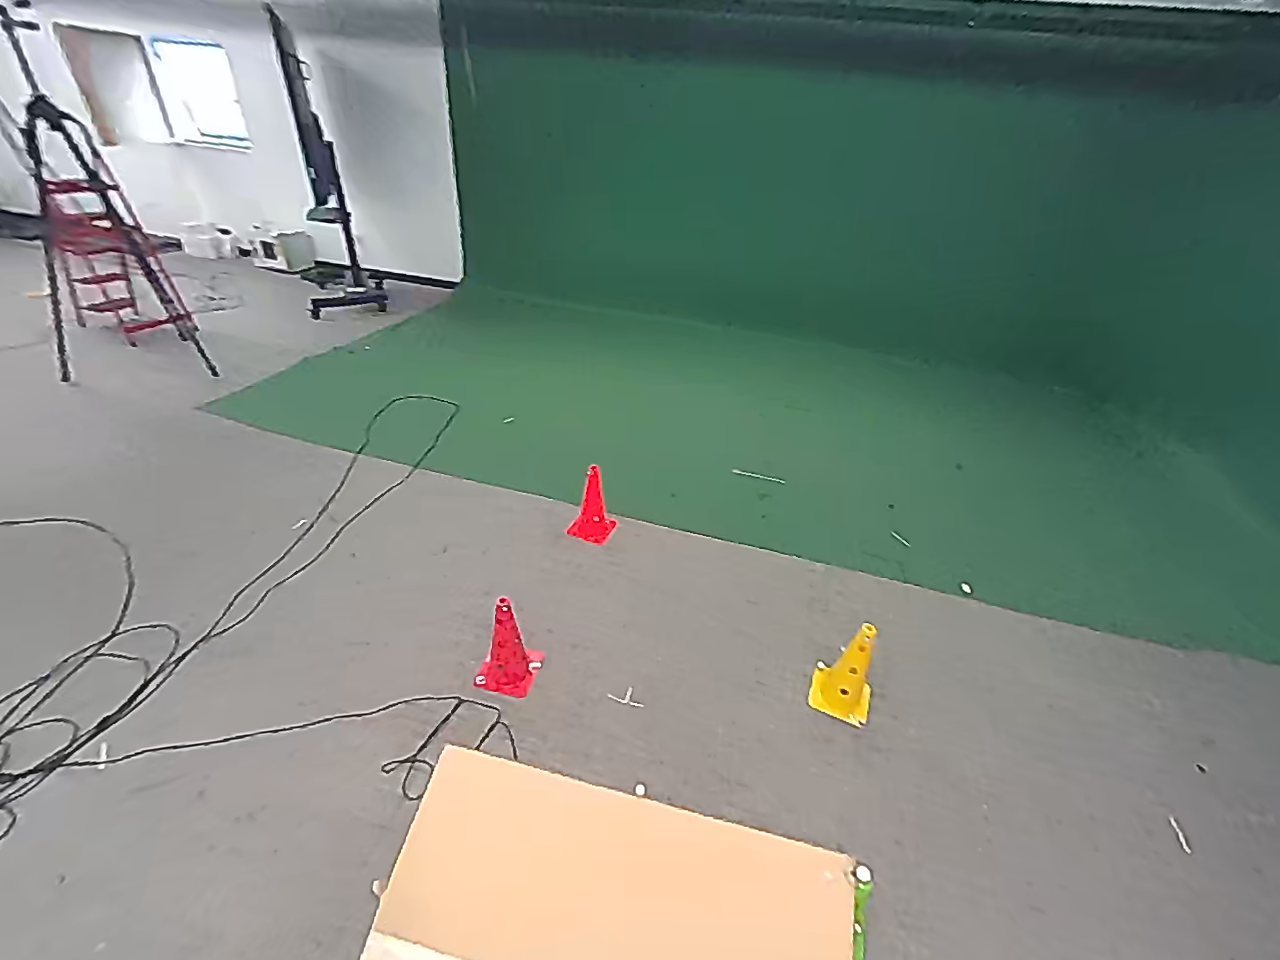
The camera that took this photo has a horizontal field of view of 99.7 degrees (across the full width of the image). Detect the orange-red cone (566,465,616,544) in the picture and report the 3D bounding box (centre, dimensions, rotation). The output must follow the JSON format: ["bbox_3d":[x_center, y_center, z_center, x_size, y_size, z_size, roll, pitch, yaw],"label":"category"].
[{"bbox_3d":[-0.229,0.092,2.548,0.199,0.360,0.198,16,34,18],"label":"orange-red cone"}]

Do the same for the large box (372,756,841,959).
[{"bbox_3d":[-0.040,0.517,0.573,0.408,0.320,0.320,11,59,5],"label":"large box"}]
